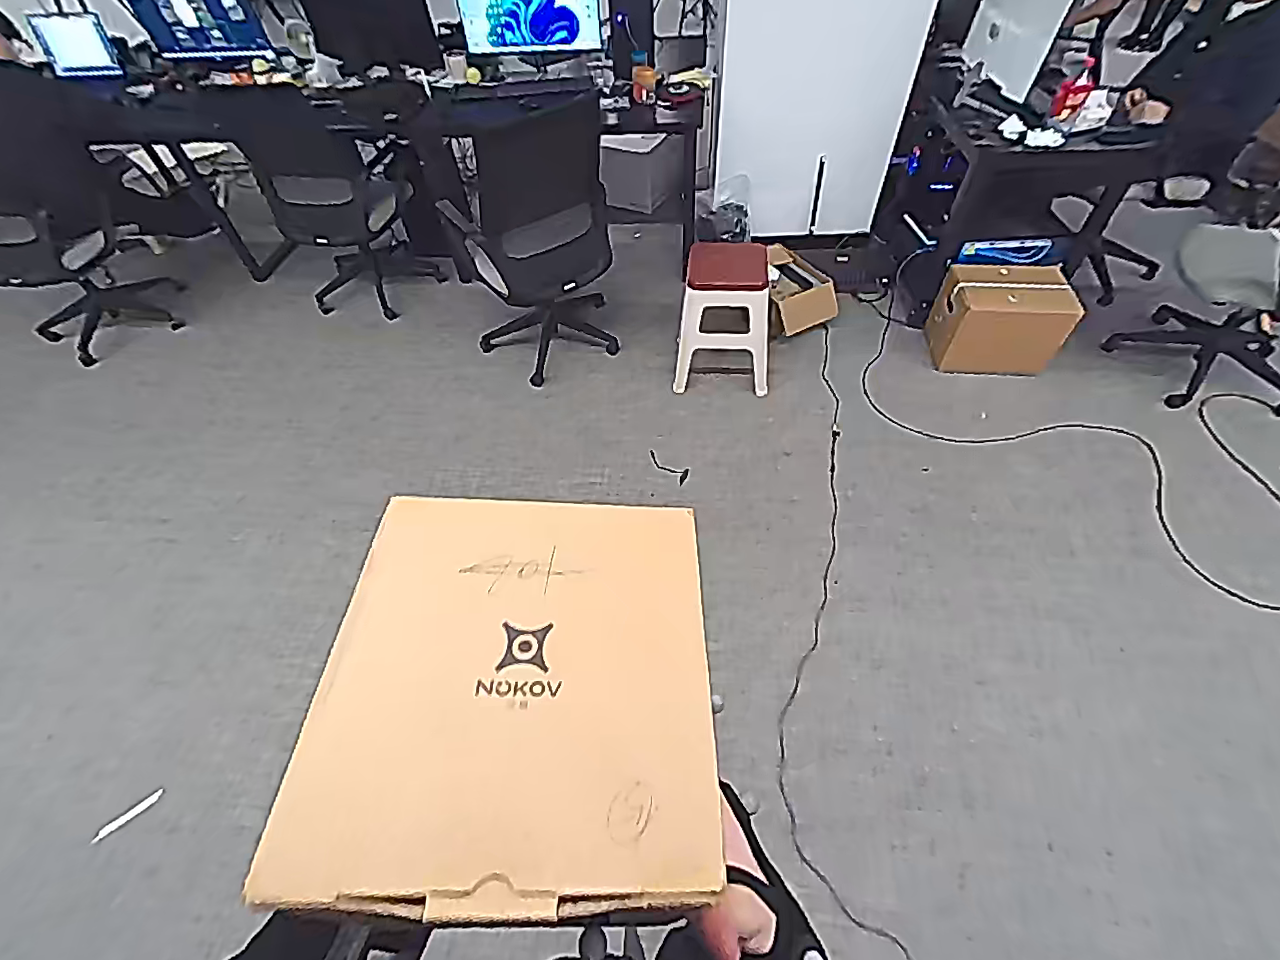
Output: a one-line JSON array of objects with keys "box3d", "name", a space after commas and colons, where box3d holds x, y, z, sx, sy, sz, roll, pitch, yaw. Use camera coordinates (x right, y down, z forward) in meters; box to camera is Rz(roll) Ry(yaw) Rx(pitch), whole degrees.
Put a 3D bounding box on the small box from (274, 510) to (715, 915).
[{"box3d": [-0.058, 0.138, 0.312, 0.168, 0.176, 0.179, 3, 49, -5], "name": "small box"}]
